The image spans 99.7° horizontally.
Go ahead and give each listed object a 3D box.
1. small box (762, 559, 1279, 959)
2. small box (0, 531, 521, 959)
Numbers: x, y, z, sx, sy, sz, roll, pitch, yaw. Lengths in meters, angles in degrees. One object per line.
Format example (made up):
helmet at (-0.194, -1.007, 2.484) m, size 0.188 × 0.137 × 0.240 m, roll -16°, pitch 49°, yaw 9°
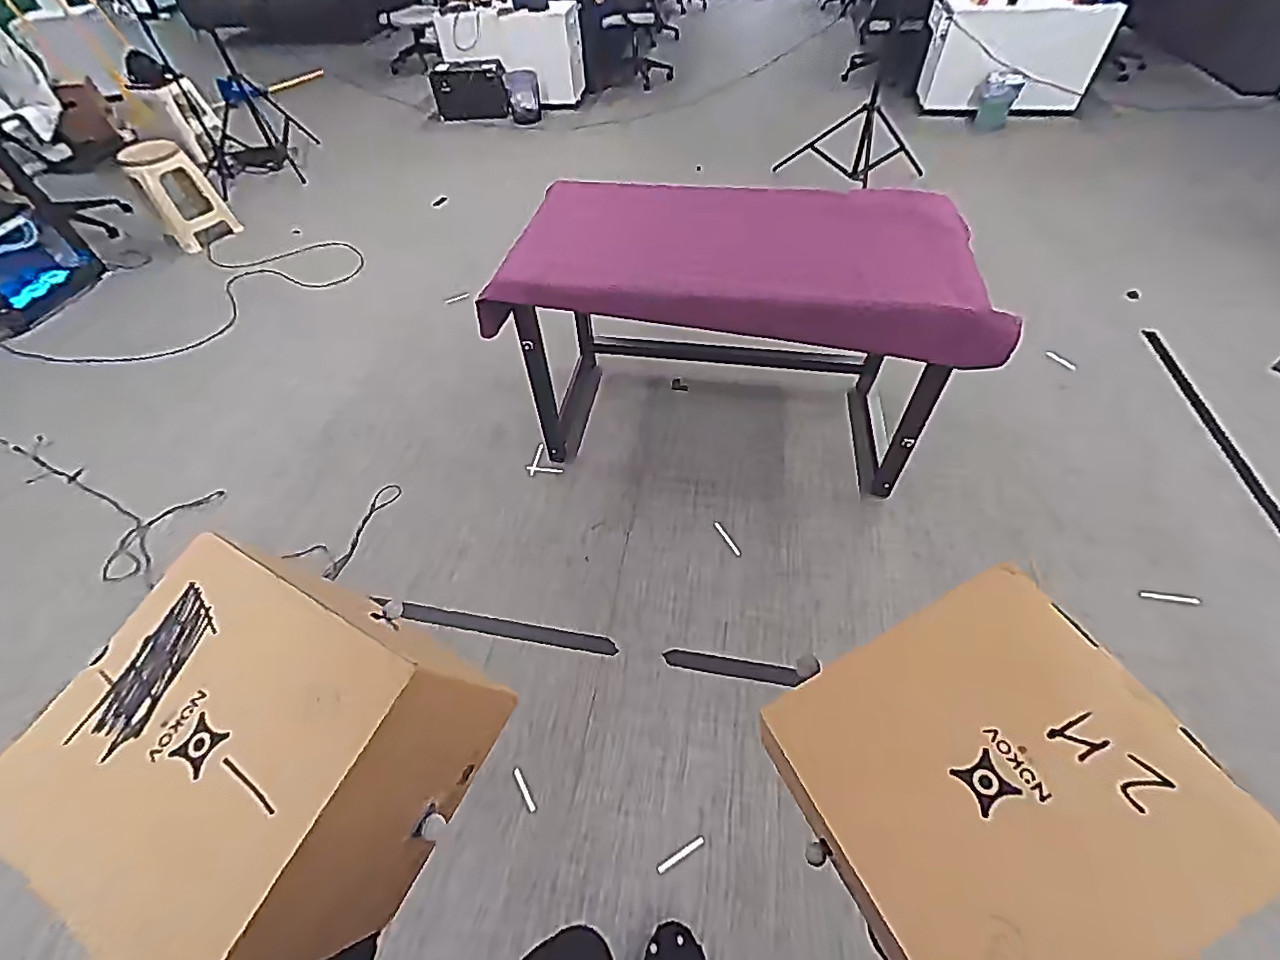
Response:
small box at (0.196, 0.185, 0.338) m, size 0.179 × 0.176 × 0.168 m, roll -29°, pitch 58°, yaw -6°
small box at (-0.208, 0.164, 0.346) m, size 0.179 × 0.176 × 0.168 m, roll 24°, pitch 69°, yaw 17°
